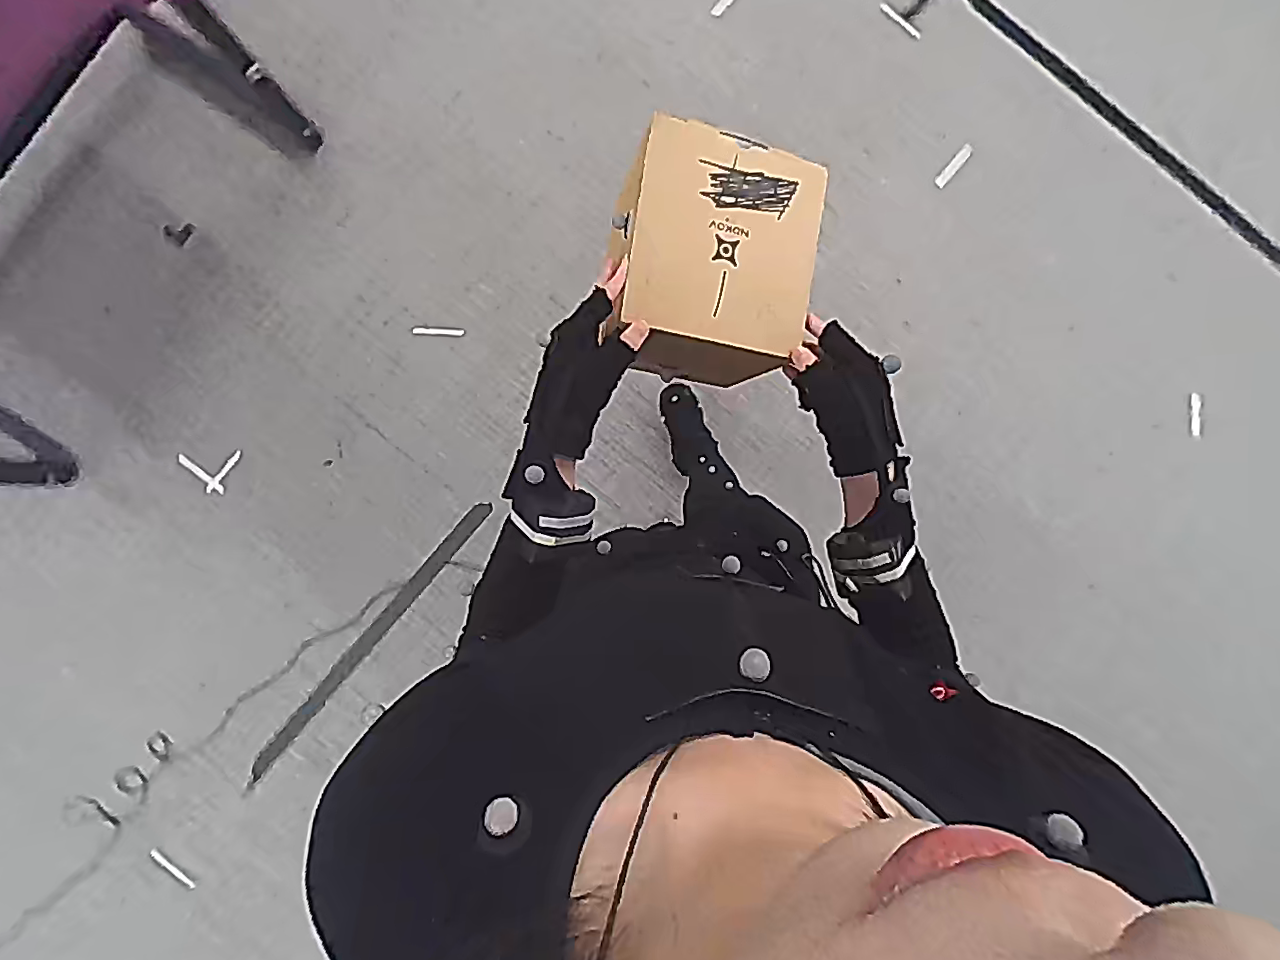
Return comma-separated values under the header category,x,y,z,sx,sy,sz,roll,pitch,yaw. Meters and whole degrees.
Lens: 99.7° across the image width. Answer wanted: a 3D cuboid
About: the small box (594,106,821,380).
category,x,y,z,sx,sy,sz,roll,pitch,yaw
small box,0.053,-0.210,0.533,0.168,0.176,0.179,7,89,-13
